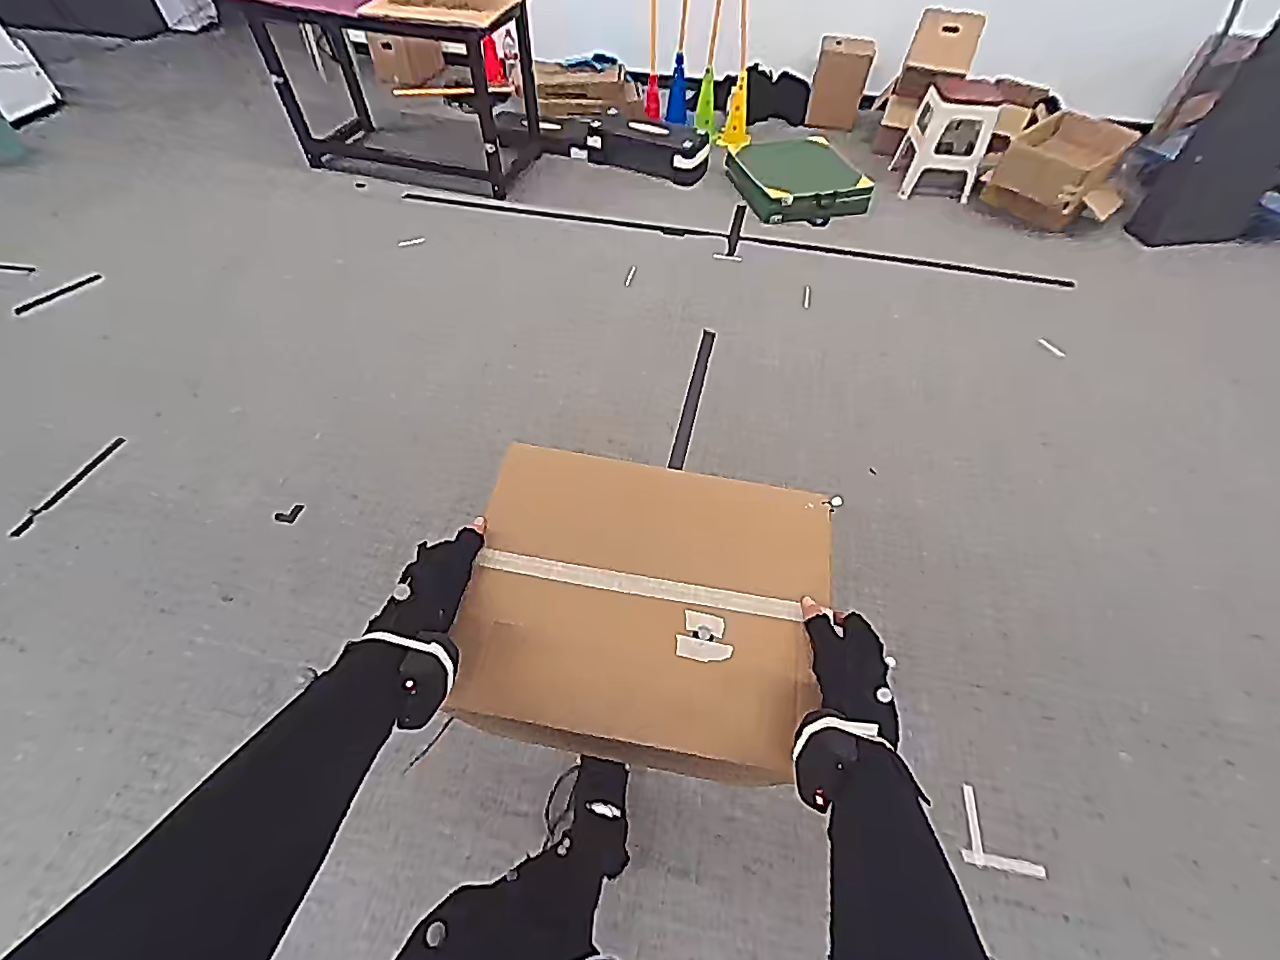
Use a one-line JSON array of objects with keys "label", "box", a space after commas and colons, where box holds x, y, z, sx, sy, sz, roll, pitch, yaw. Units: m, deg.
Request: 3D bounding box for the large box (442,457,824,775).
[{"label": "large box", "box": [0.001, 0.202, 0.750, 0.408, 0.320, 0.320, 10, 60, 2]}]
